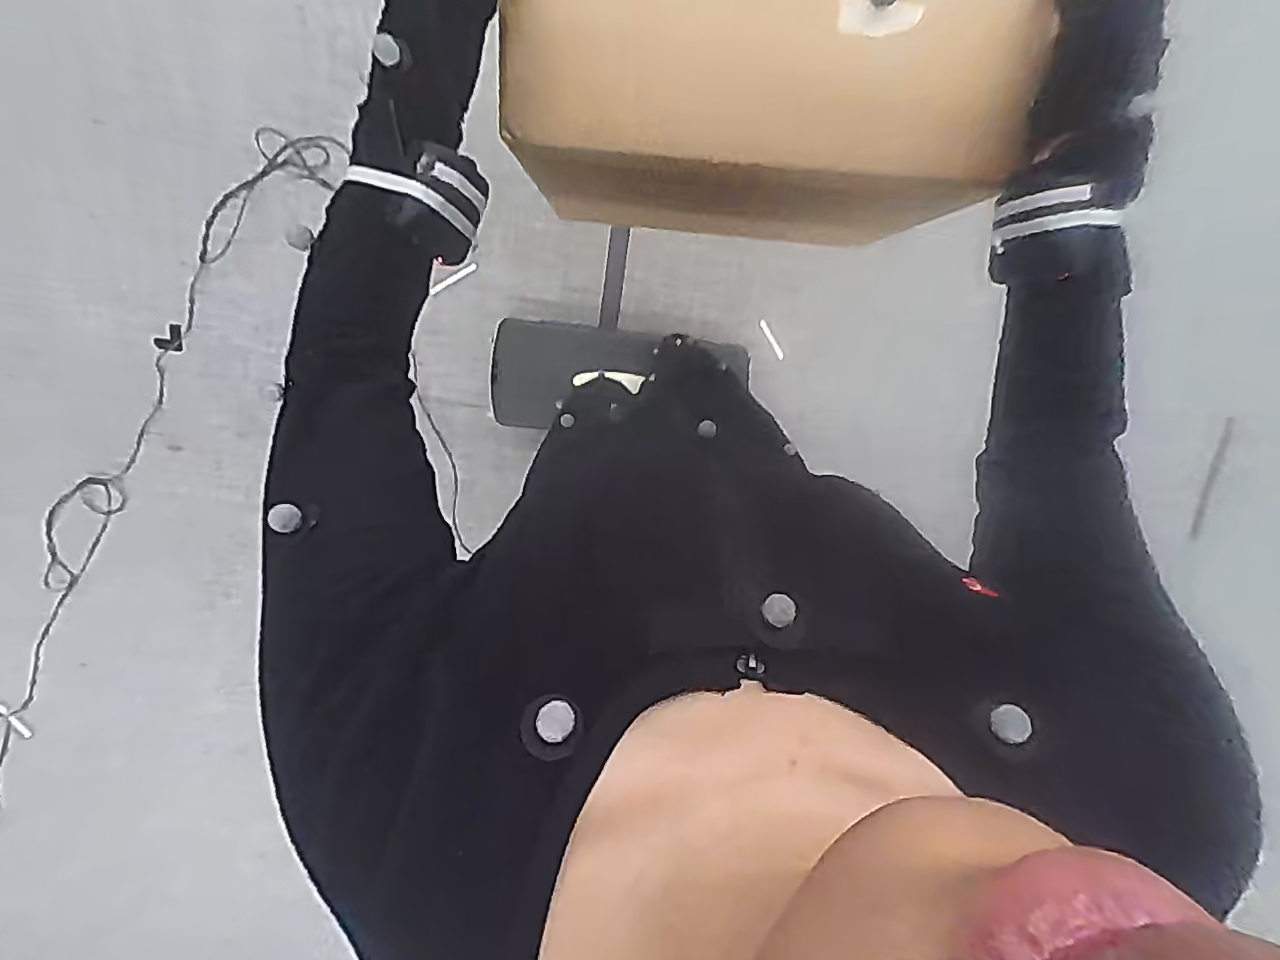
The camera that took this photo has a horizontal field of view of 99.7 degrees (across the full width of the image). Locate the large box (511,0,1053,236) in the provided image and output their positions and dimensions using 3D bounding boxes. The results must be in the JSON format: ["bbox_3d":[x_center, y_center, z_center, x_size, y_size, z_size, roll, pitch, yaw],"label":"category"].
[{"bbox_3d":[0.103,-0.438,0.523,0.408,0.320,0.320,3,106,-2],"label":"large box"}]
